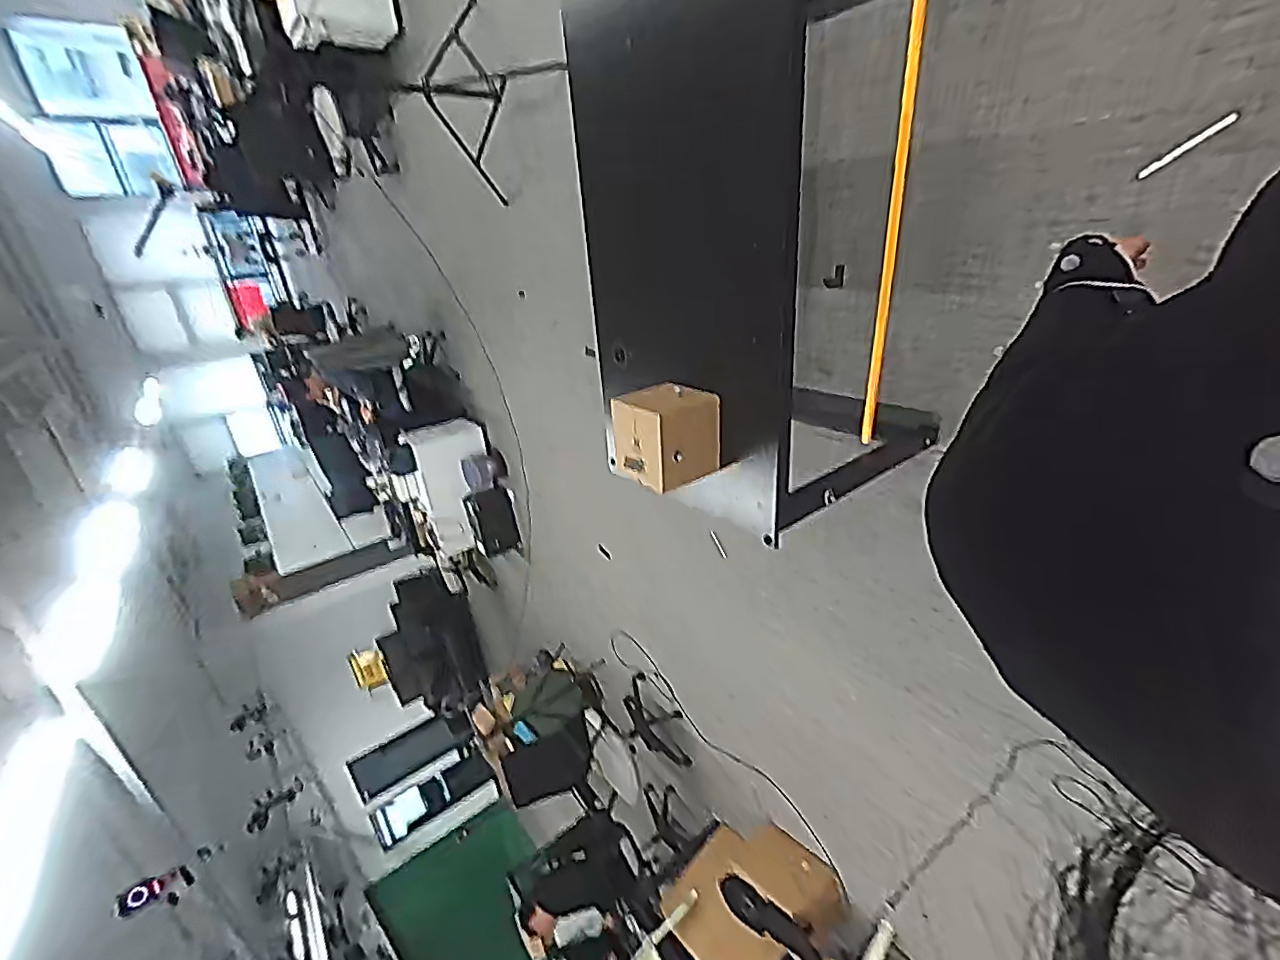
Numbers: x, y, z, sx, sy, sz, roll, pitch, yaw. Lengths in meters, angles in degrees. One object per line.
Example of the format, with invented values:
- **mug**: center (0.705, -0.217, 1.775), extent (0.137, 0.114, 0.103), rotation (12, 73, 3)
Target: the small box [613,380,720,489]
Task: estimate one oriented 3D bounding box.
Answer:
- **small box**: center (0.061, -0.106, 1.183), extent (0.168, 0.176, 0.179), rotation (26, 128, 47)
